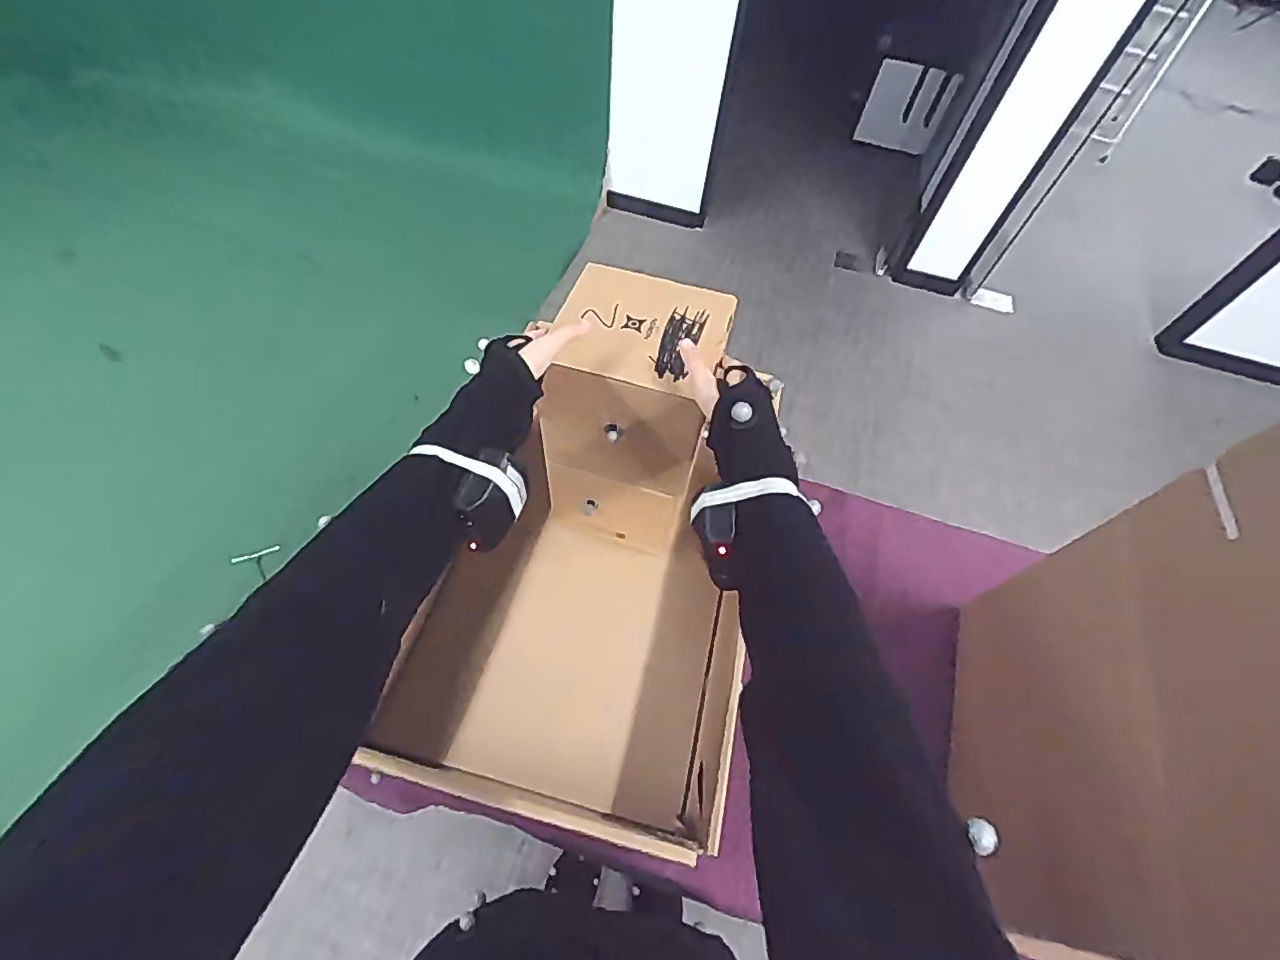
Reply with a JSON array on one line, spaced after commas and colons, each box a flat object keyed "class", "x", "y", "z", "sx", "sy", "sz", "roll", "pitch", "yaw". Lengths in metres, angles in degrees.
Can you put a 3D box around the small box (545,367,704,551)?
[{"class": "small box", "x": -0.018, "y": -0.024, "z": 0.764, "sx": 0.168, "sy": 0.176, "sz": 0.179, "roll": 16, "pitch": 57, "yaw": 6}]
